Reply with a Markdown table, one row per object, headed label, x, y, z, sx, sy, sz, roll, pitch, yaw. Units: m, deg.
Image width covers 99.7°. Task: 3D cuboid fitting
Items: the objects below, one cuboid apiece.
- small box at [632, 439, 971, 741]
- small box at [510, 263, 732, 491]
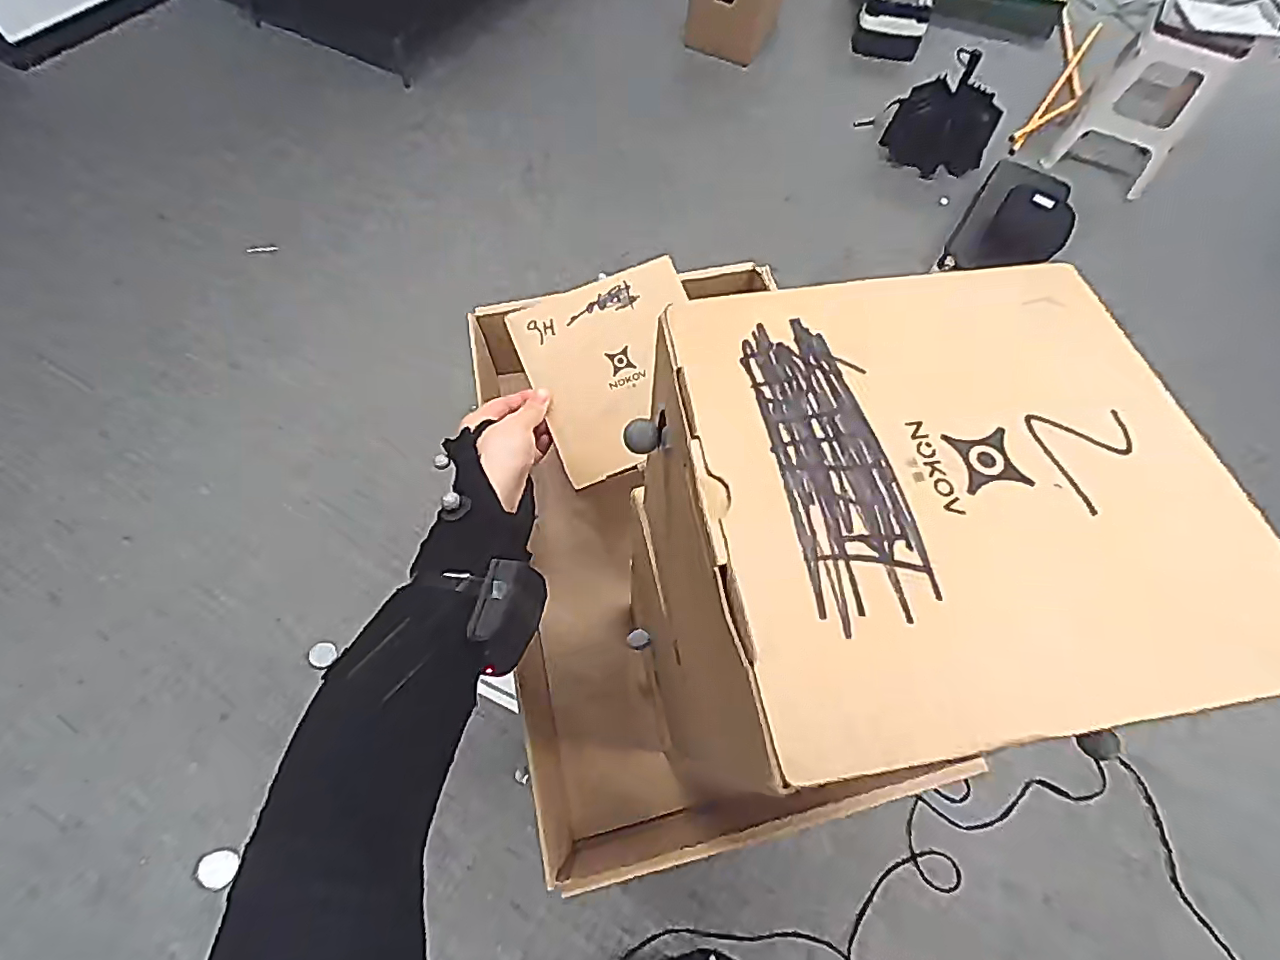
| label | x | y | z | sx | sy | sz | roll | pitch | yaw |
| --- | --- | --- | --- | --- | --- | --- | --- | --- | --- |
| small box | 0.093 | 0.092 | 0.412 | 0.179 | 0.176 | 0.168 | -11 | 63 | -6 |
| small box | -0.020 | -0.095 | 0.587 | 0.168 | 0.176 | 0.179 | -22 | 87 | -5 |
